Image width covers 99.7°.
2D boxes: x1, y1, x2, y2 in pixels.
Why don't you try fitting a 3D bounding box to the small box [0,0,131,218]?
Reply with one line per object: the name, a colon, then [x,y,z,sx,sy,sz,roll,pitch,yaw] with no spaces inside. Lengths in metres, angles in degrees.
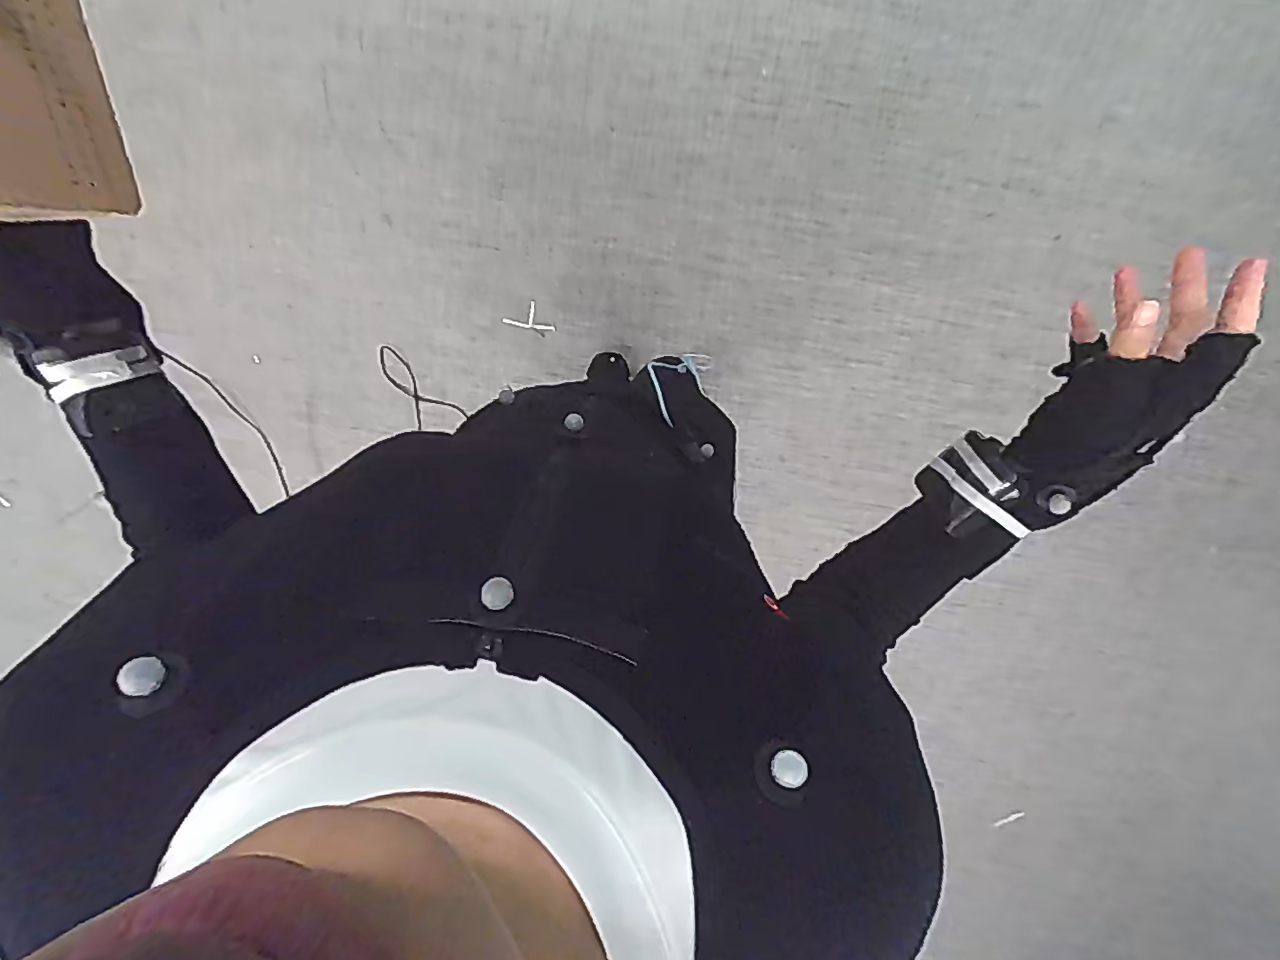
small box: [-0.352,-0.196,0.192,0.168,0.176,0.179,7,114,16]
